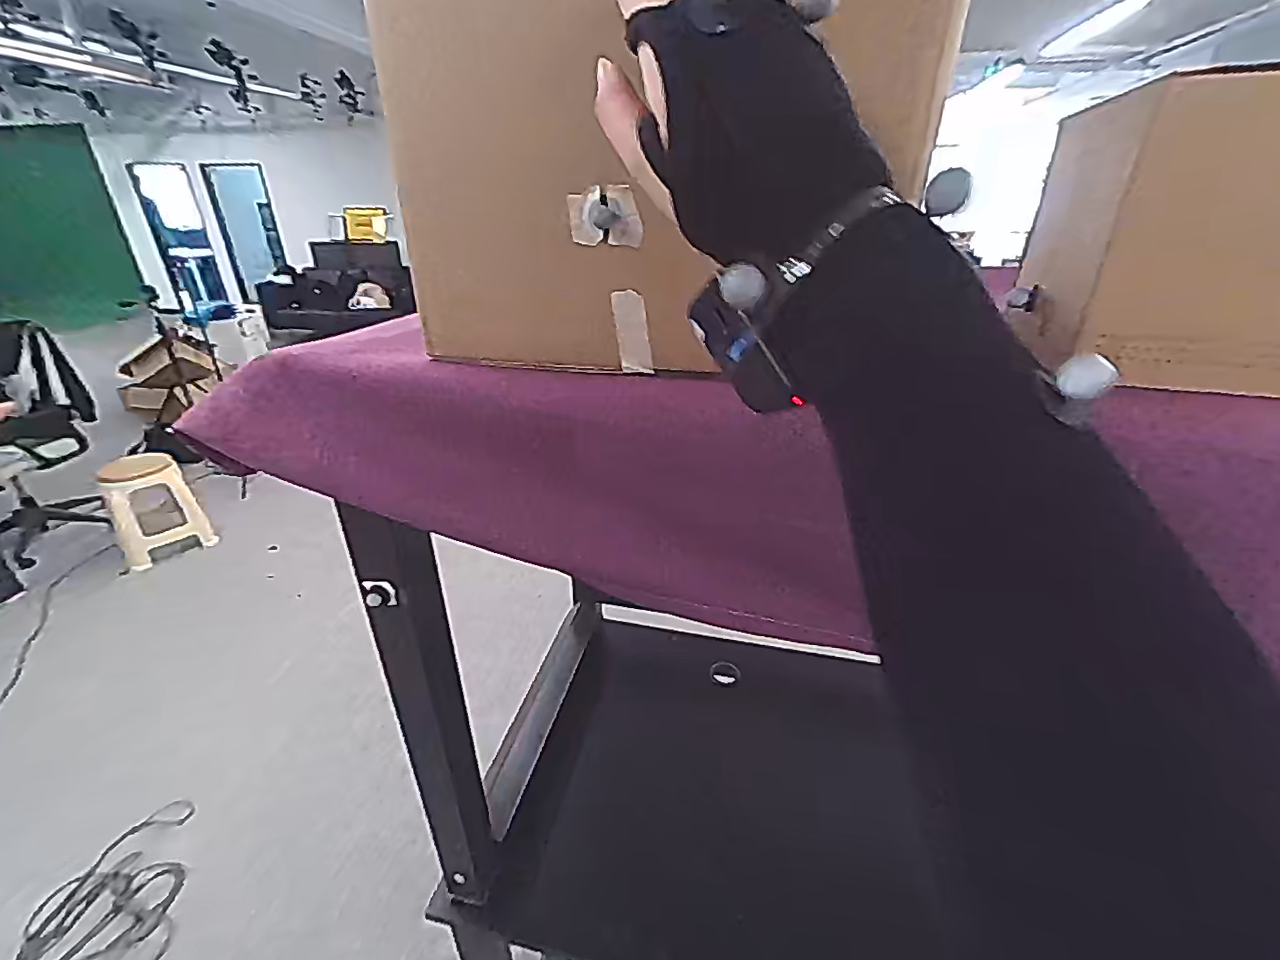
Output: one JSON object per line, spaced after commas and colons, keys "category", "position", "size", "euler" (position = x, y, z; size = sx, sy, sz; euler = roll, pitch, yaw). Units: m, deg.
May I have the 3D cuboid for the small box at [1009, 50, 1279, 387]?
{"category": "small box", "position": [0.383, -0.162, 0.356], "size": [0.179, 0.176, 0.168], "euler": [8, 27, 17]}
